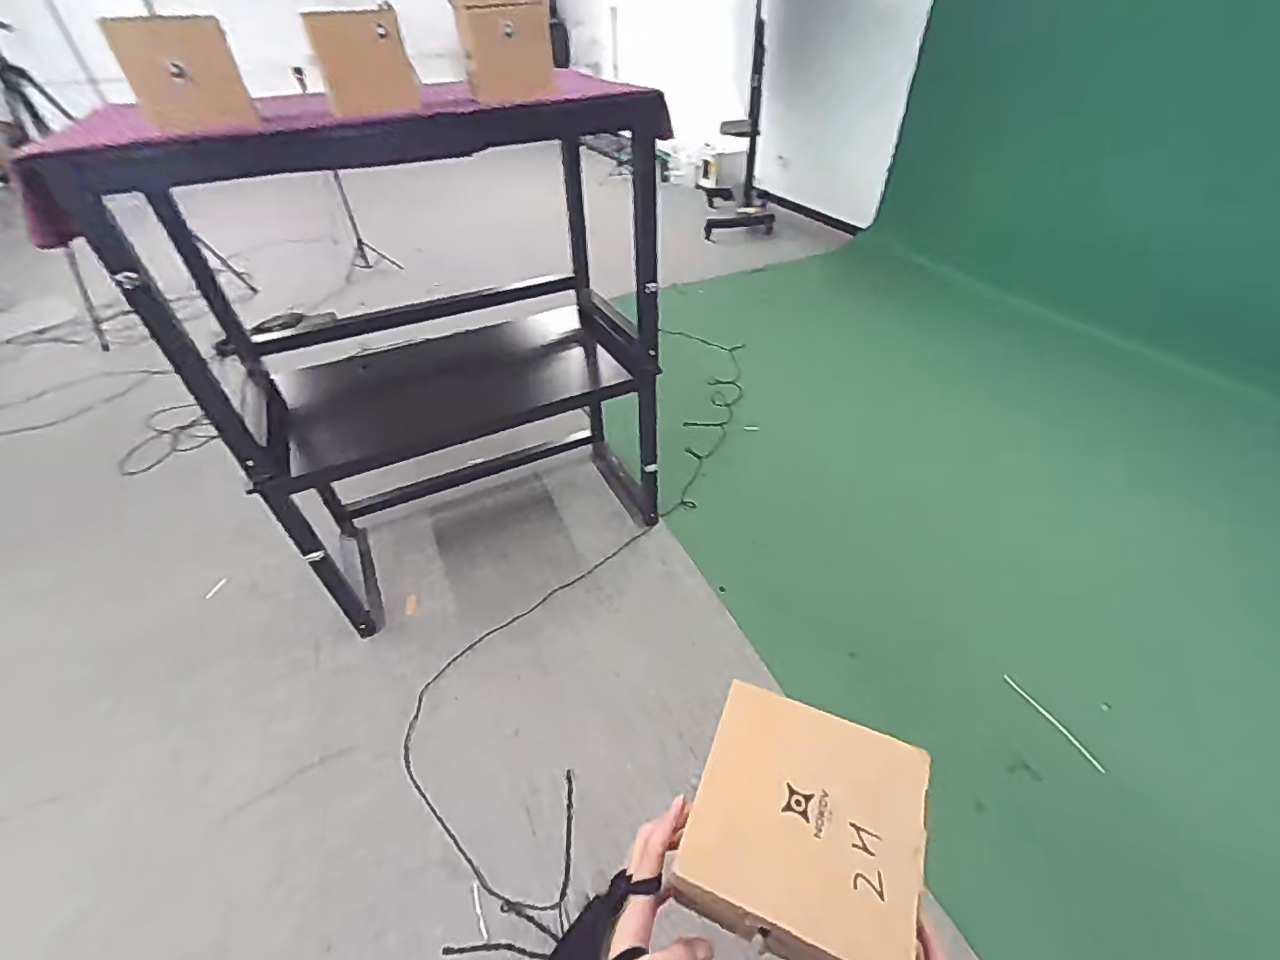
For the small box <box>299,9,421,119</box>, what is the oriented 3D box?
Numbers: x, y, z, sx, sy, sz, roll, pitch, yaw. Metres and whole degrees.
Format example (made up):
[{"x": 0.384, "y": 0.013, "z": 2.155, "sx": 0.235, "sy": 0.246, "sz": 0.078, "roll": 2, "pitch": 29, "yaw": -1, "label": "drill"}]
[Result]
[{"x": -0.583, "y": -0.868, "z": 1.132, "sx": 0.179, "sy": 0.176, "sz": 0.168, "roll": -20, "pitch": 44, "yaw": -19, "label": "small box"}]

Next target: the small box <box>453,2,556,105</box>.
[{"x": -0.304, "y": -0.963, "z": 1.223, "sx": 0.179, "sy": 0.176, "sz": 0.168, "roll": -17, "pitch": 44, "yaw": -15, "label": "small box"}]

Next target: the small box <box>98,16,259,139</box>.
[{"x": -0.854, "y": -0.766, "z": 1.025, "sx": 0.179, "sy": 0.176, "sz": 0.168, "roll": -22, "pitch": 45, "yaw": -20, "label": "small box"}]

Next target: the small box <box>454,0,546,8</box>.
[{"x": -0.310, "y": -1.085, "z": 1.115, "sx": 0.179, "sy": 0.176, "sz": 0.168, "roll": -19, "pitch": 45, "yaw": -15, "label": "small box"}]

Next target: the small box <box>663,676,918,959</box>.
[{"x": 0.132, "y": 0.317, "z": 0.497, "sx": 0.179, "sy": 0.176, "sz": 0.168, "roll": 15, "pitch": 49, "yaw": 18, "label": "small box"}]
